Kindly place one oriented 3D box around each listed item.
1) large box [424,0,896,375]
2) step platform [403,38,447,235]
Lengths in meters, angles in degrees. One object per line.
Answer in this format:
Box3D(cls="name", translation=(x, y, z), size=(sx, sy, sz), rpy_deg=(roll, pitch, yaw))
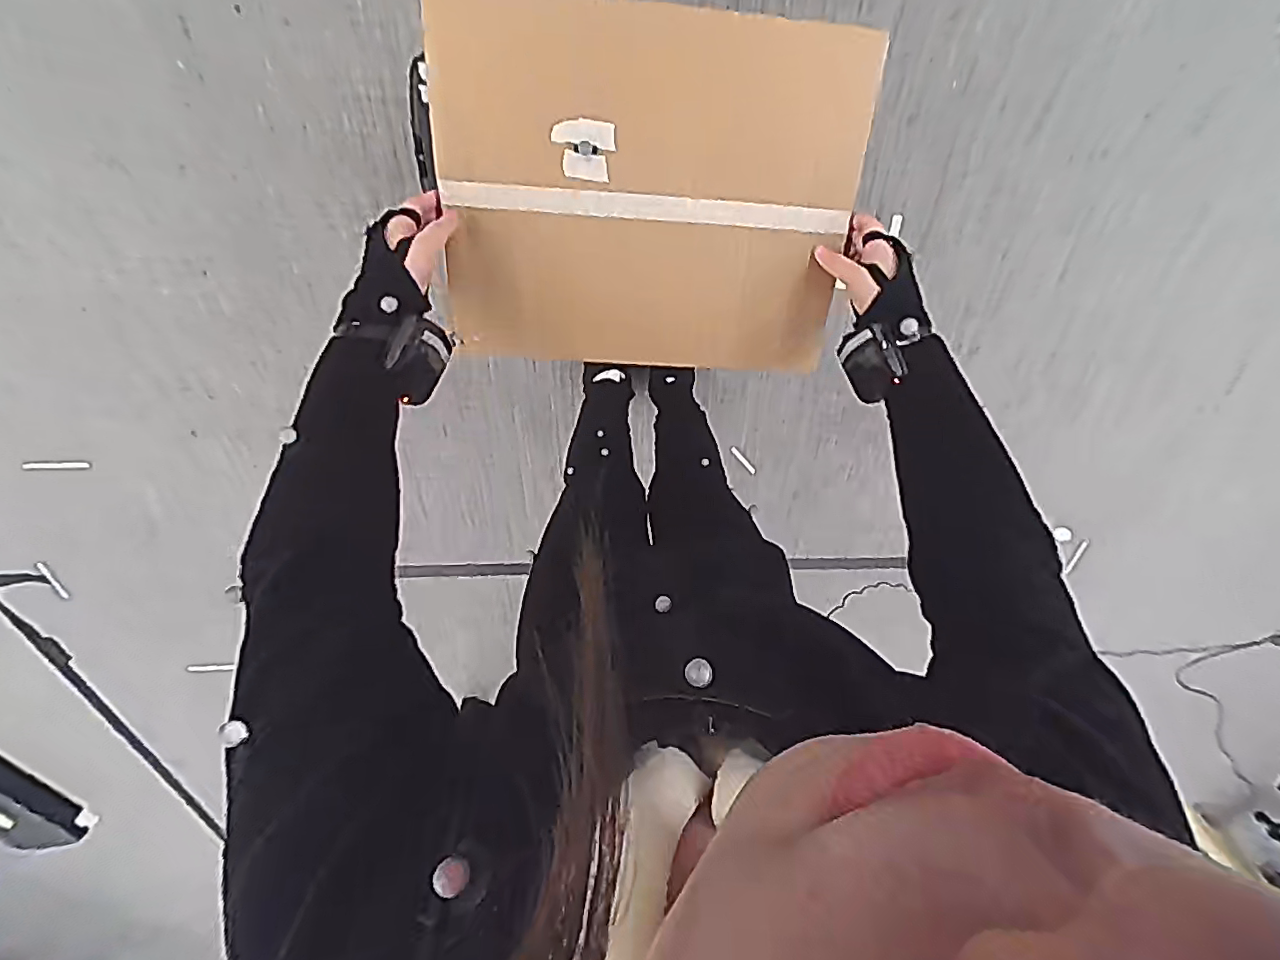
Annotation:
Box3D(cls="large box", translation=(0.008, -0.328, 0.647), size=(0.408, 0.320, 0.320), rpy_deg=(2, 117, -5))
Box3D(cls="step platform", translation=(-0.056, -0.566, 0.978), size=(0.684, 0.204, 0.286), rpy_deg=(5, 123, -6))
